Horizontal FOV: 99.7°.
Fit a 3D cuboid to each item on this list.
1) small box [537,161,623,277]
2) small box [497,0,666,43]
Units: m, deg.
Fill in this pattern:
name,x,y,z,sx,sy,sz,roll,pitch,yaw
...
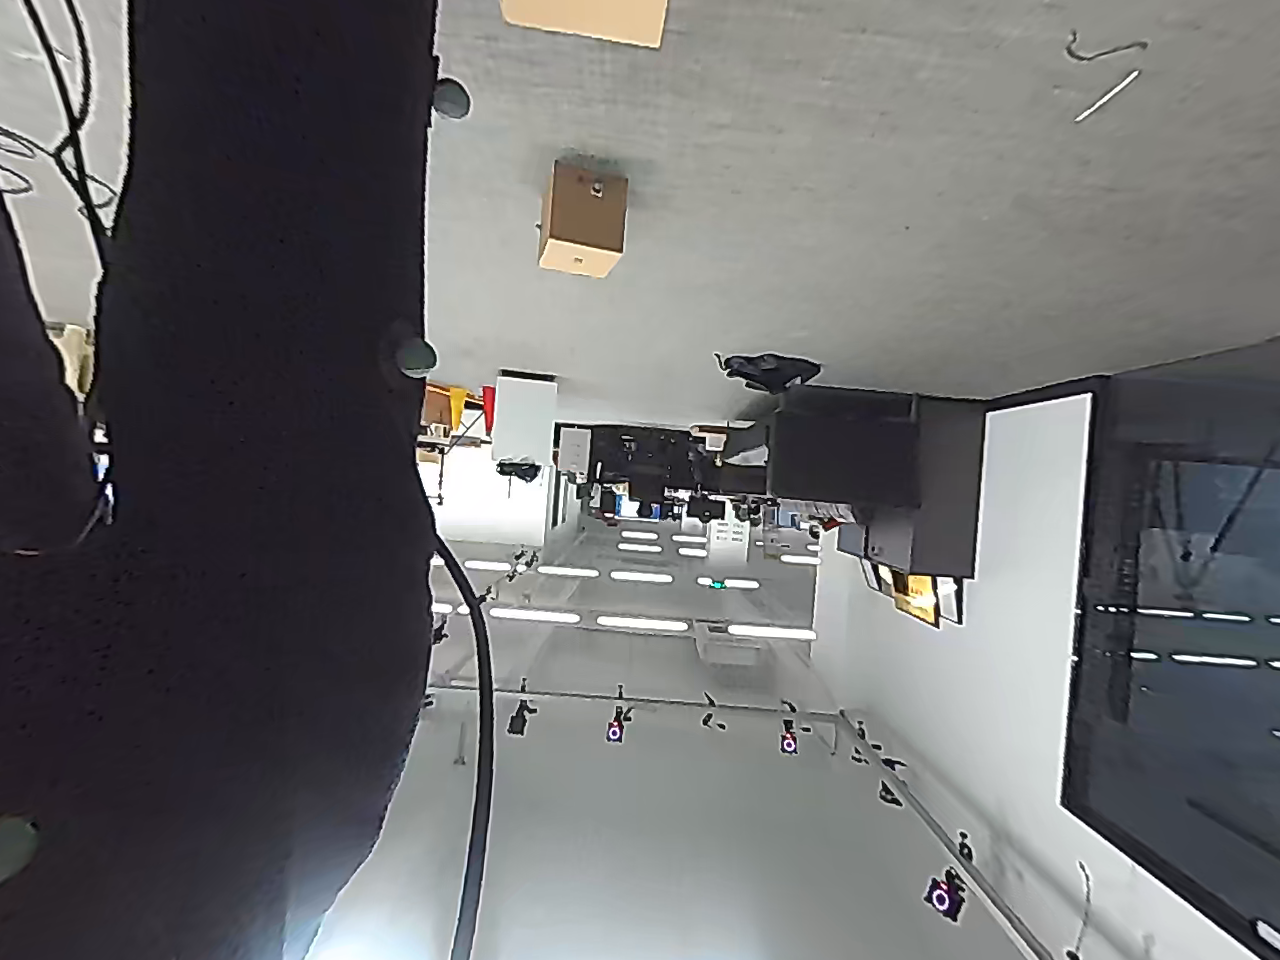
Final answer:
name,x,y,z,sx,sy,sz,roll,pitch,yaw
small box,-0.138,-0.586,1.231,0.168,0.176,0.179,2,180,-18
small box,-0.053,-0.574,0.516,0.179,0.176,0.168,4,180,-5
